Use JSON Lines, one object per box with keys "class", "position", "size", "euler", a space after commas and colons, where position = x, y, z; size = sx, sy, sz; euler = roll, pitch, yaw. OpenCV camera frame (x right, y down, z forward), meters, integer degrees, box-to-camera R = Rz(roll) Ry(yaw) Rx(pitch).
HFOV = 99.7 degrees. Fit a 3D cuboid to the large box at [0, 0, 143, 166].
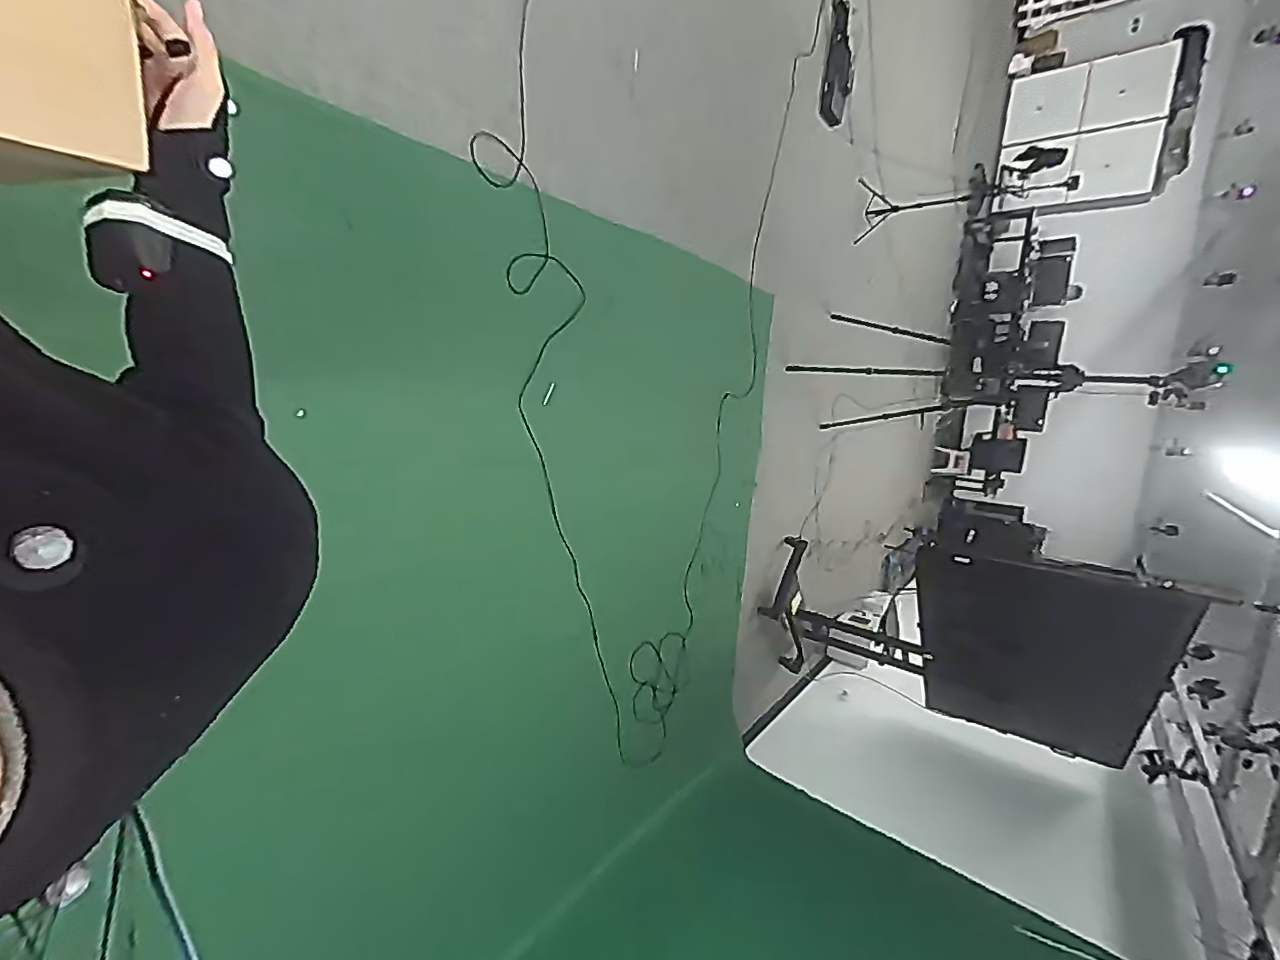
{"class": "large box", "position": [-0.604, -0.394, 0.291], "size": [0.408, 0.320, 0.320], "euler": [-20, 120, -58]}
